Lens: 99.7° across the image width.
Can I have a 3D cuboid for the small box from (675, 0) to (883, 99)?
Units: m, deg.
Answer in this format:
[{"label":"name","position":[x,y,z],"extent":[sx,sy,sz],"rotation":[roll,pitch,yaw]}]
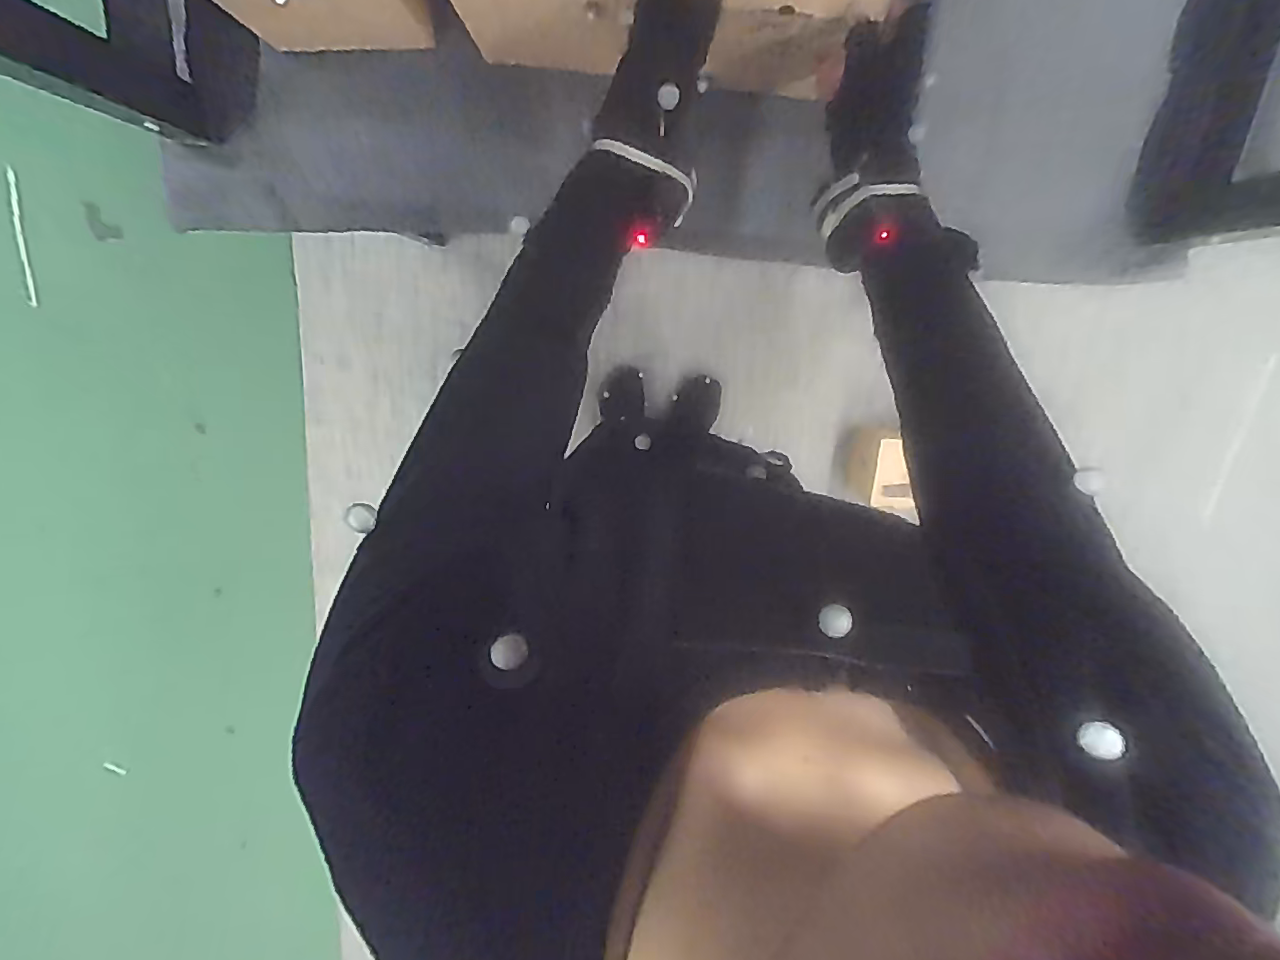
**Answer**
[{"label":"small box","position":[0.124,-0.480,0.494],"extent":[0.168,0.176,0.179],"rotation":[5,107,-2]}]
